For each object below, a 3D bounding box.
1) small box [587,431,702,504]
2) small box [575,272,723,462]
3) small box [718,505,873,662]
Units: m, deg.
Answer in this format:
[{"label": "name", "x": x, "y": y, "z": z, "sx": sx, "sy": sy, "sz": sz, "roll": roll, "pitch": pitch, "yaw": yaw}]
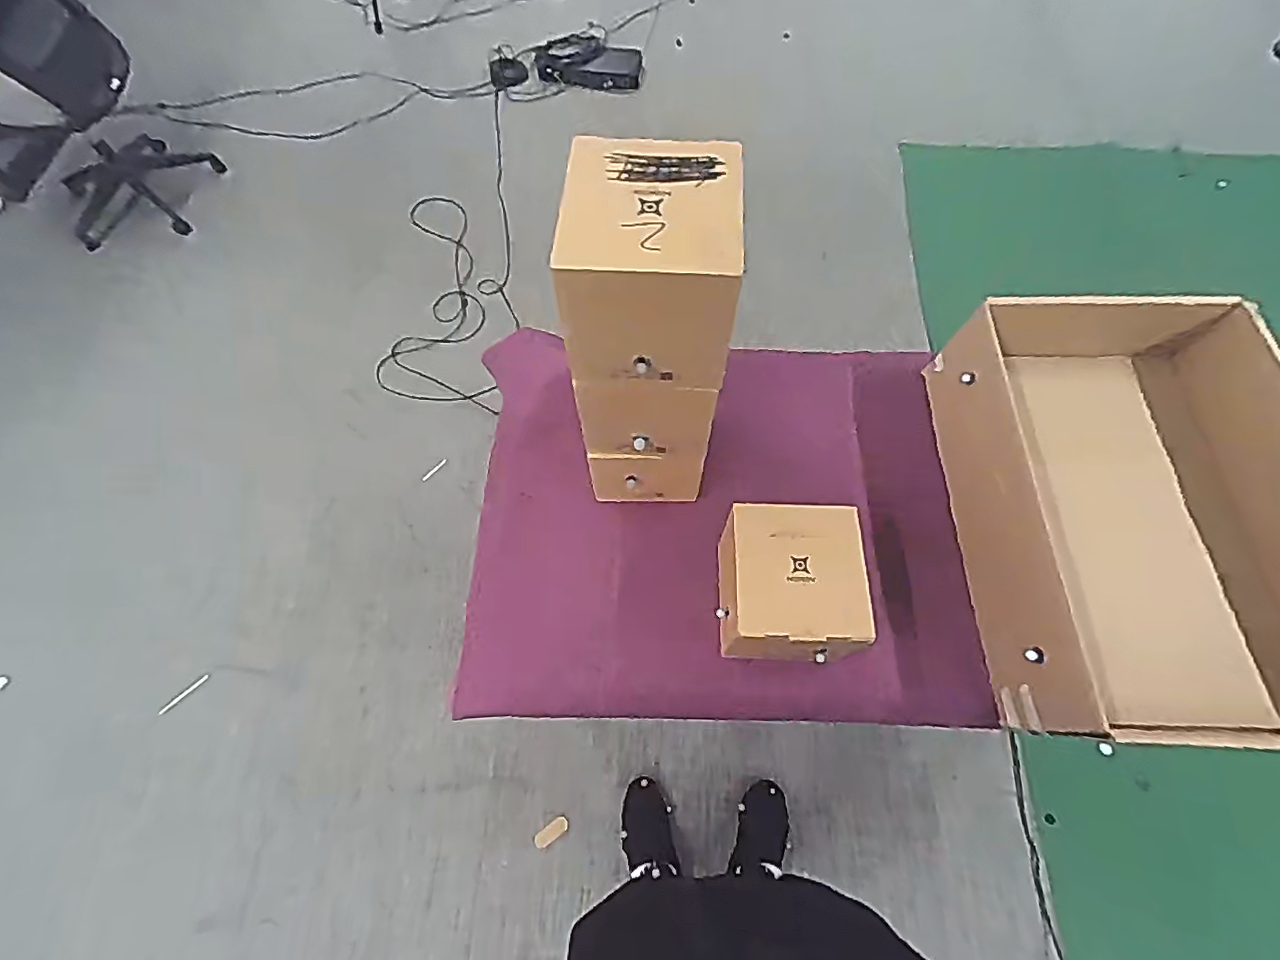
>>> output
[{"label": "small box", "x": 0.011, "y": -0.070, "z": 0.859, "sx": 0.168, "sy": 0.176, "sz": 0.179, "roll": 0, "pitch": 64, "yaw": 1}, {"label": "small box", "x": 0.015, "y": -0.143, "z": 0.712, "sx": 0.168, "sy": 0.176, "sz": 0.179, "roll": 4, "pitch": 65, "yaw": 4}, {"label": "small box", "x": 0.201, "y": 0.150, "z": 0.749, "sx": 0.168, "sy": 0.176, "sz": 0.179, "roll": 2, "pitch": 63, "yaw": 2}]
